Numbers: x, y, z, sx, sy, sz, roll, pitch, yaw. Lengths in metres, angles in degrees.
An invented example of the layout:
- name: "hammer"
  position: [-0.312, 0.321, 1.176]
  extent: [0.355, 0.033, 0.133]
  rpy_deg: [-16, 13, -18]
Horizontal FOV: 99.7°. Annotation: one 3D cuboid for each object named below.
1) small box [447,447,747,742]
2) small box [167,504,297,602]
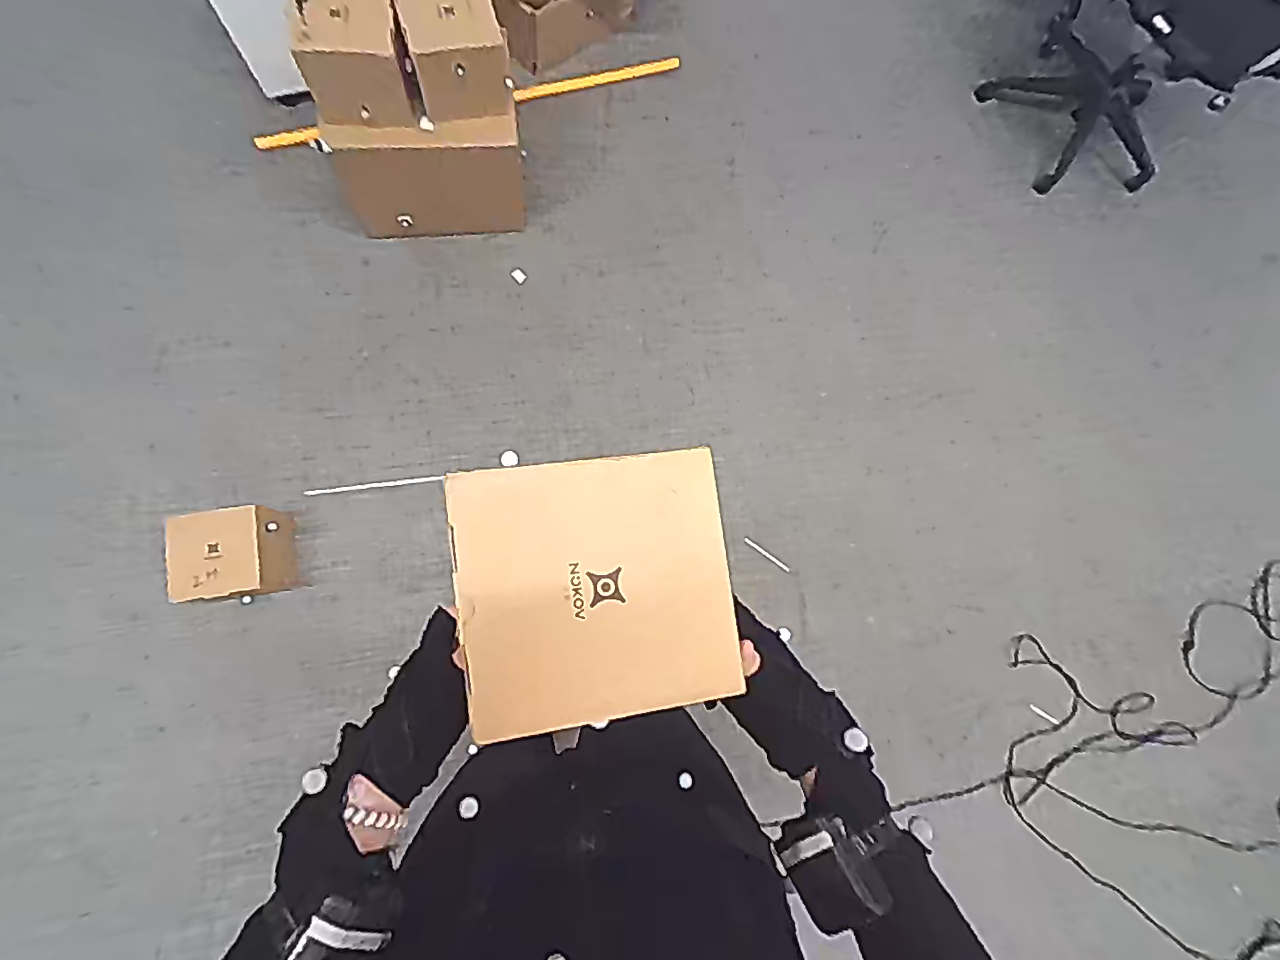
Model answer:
- name: "small box"
  position: [-0.038, 0.073, 0.418]
  extent: [0.179, 0.176, 0.168]
  rpy_deg: [-7, 86, -10]
- name: "small box"
  position: [-0.859, 0.158, 1.151]
  extent: [0.168, 0.176, 0.179]
  rpy_deg: [-9, 81, -10]
